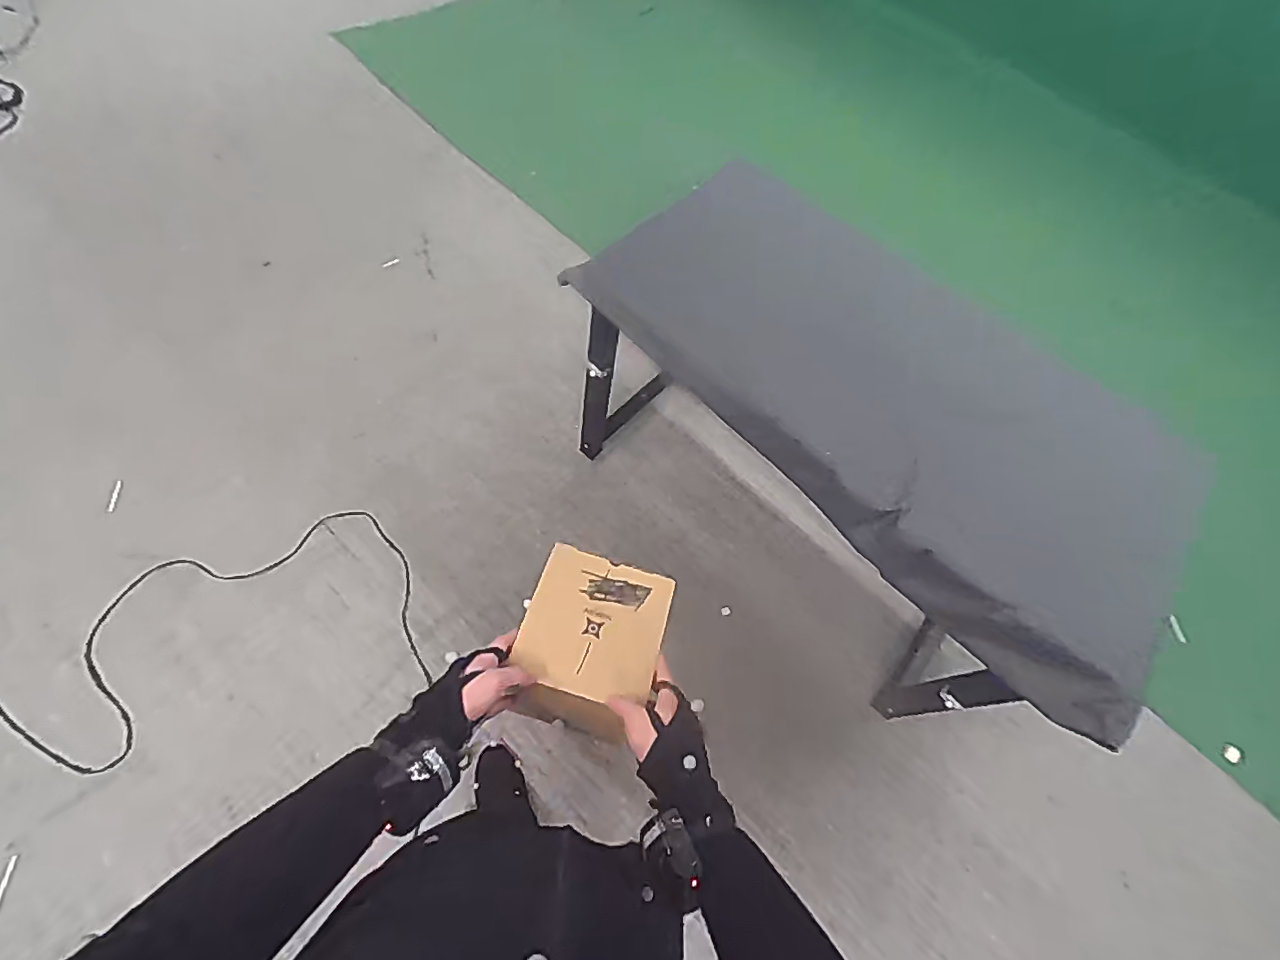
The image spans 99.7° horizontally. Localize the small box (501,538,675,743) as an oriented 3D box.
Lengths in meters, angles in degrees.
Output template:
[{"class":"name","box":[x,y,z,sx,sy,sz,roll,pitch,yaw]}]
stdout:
[{"class":"small box","box":[-0.068,0.209,0.693,0.168,0.176,0.179,18,52,1]}]
